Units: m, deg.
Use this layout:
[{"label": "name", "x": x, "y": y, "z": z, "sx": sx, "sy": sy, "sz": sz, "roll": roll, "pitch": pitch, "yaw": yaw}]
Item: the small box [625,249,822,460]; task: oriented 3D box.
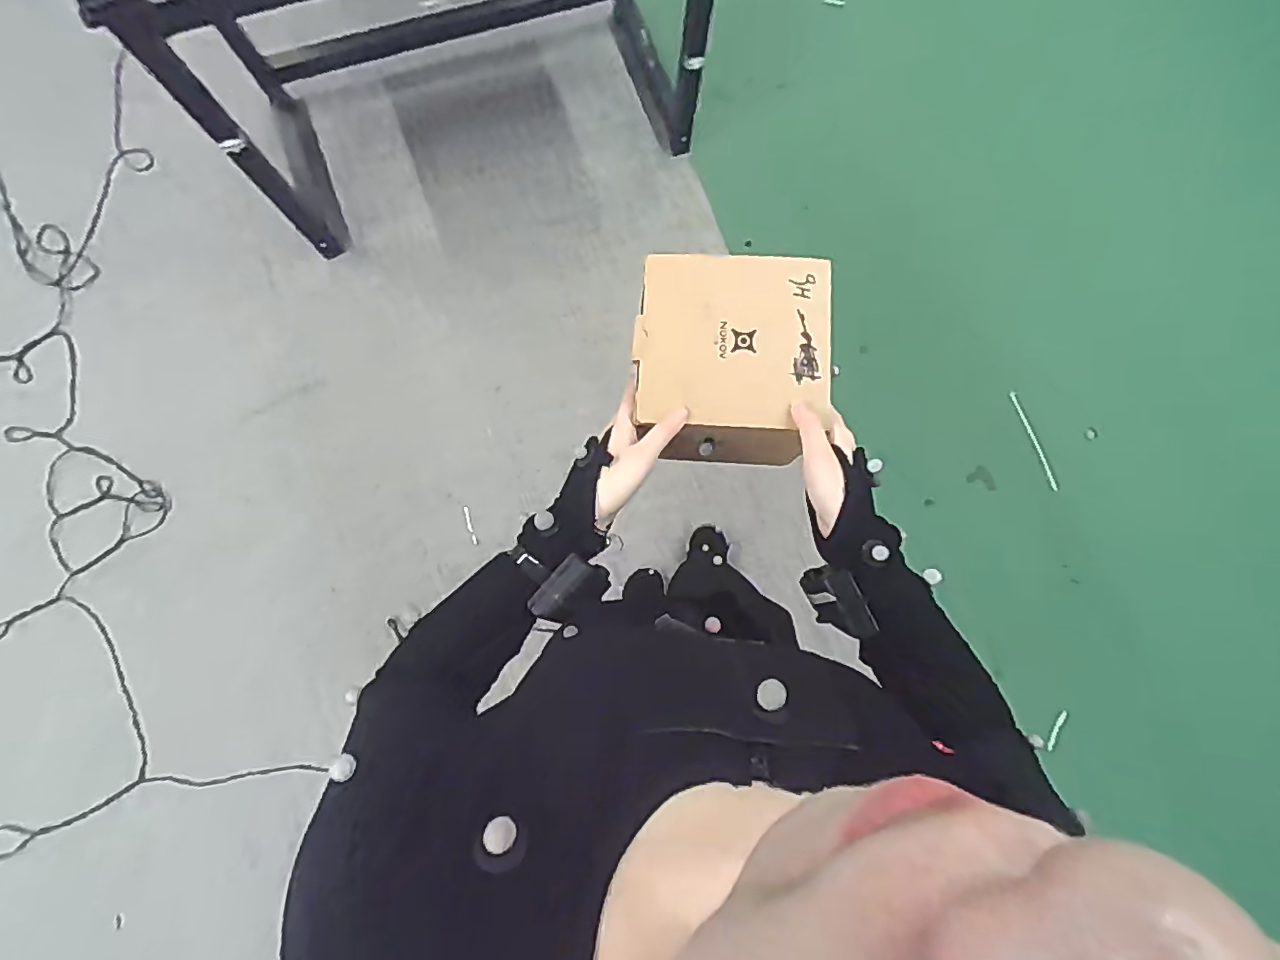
[{"label": "small box", "x": 0.083, "y": -0.119, "z": 0.570, "sx": 0.179, "sy": 0.176, "sz": 0.168, "roll": 3, "pitch": 80, "yaw": 4}]
